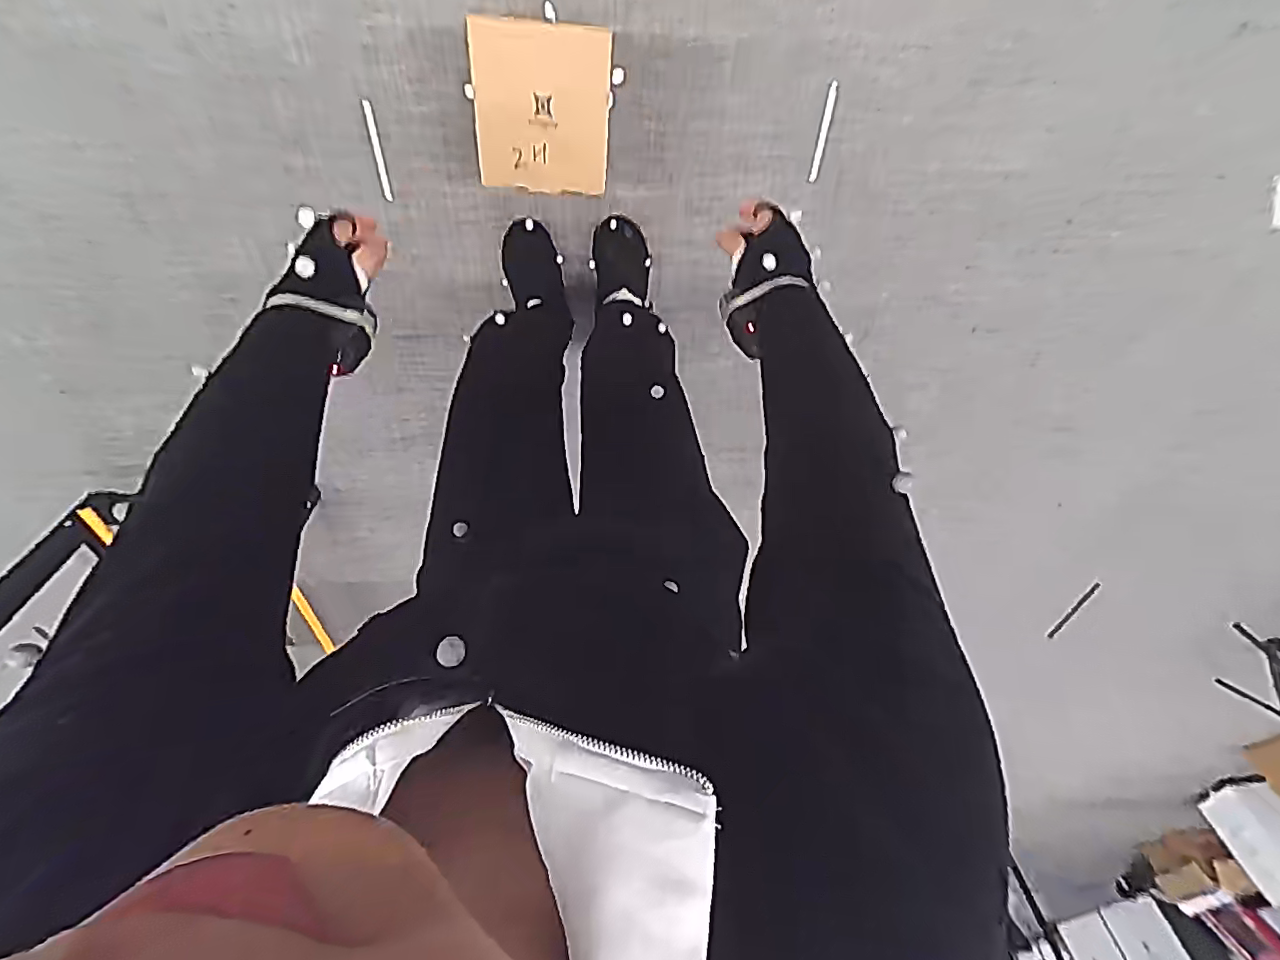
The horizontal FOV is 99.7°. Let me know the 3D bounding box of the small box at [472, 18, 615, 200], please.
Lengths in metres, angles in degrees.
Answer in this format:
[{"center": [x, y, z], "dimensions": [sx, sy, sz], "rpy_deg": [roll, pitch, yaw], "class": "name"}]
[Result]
[{"center": [-0.125, -0.502, 0.730], "dimensions": [0.168, 0.176, 0.179], "rpy_deg": [2, 131, -7], "class": "small box"}]
